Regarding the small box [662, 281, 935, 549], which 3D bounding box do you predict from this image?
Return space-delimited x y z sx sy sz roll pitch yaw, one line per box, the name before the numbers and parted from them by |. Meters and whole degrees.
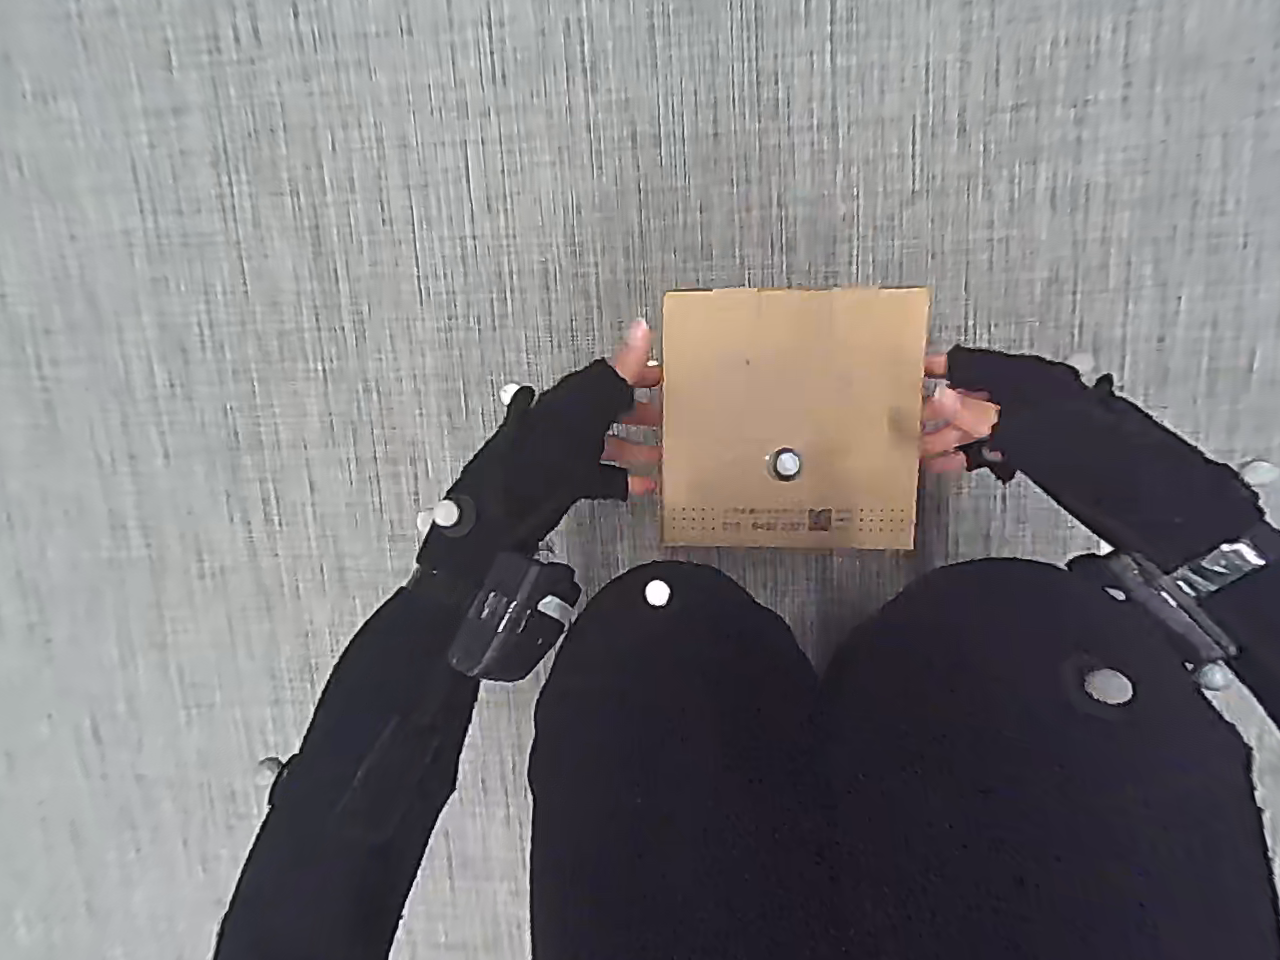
small box | 0.102 -0.051 0.423 0.168 0.179 0.176 -1 100 3
